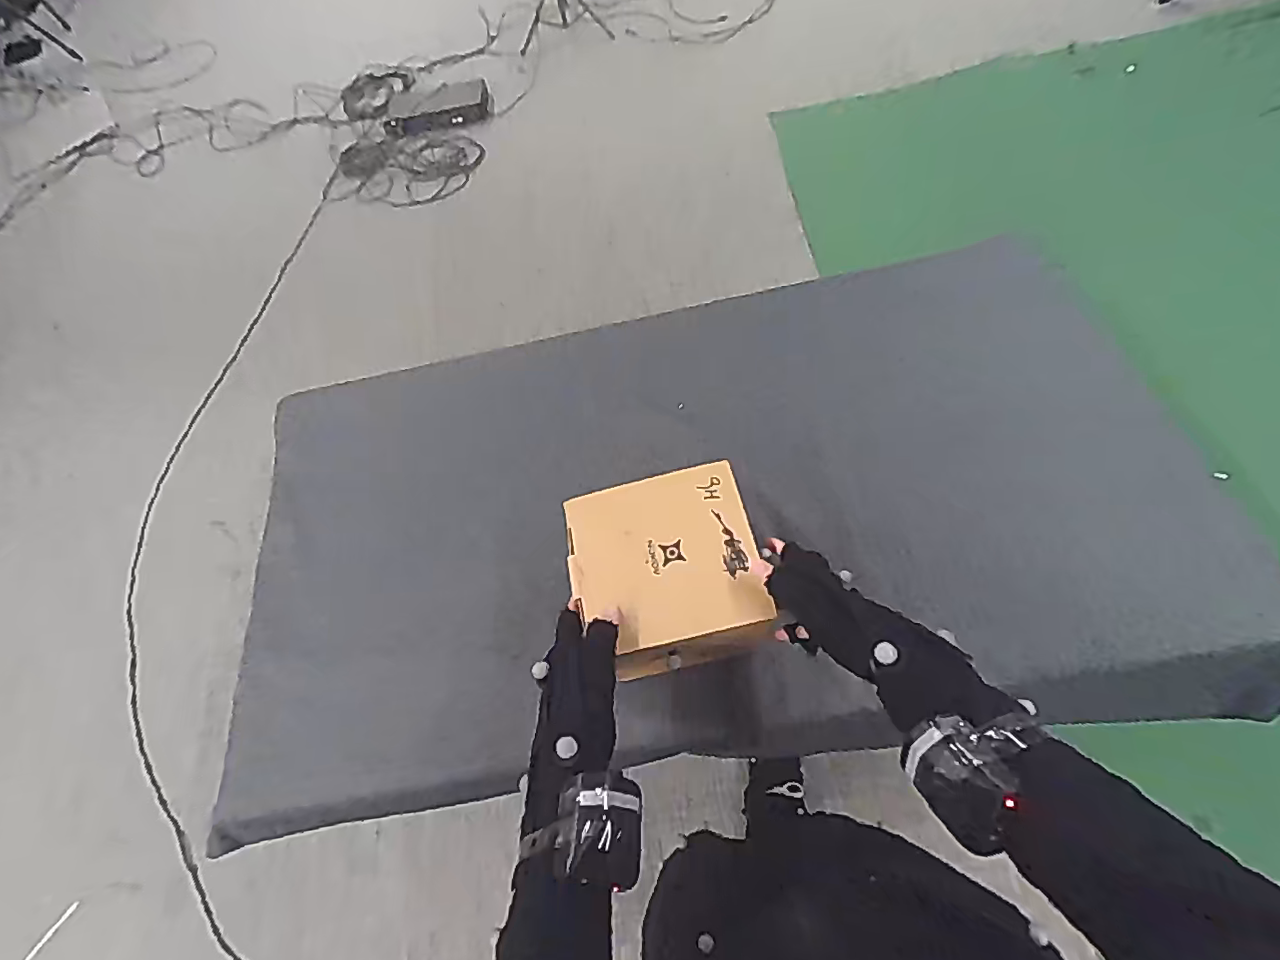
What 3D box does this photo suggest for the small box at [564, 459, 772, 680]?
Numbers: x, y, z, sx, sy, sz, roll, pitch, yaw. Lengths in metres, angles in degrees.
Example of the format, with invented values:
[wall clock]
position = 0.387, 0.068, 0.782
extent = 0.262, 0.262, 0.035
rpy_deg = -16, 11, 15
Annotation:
[small box]
position = 0.033, 0.107, 0.594
extent = 0.179, 0.176, 0.168
rpy_deg = -16, 60, 0
